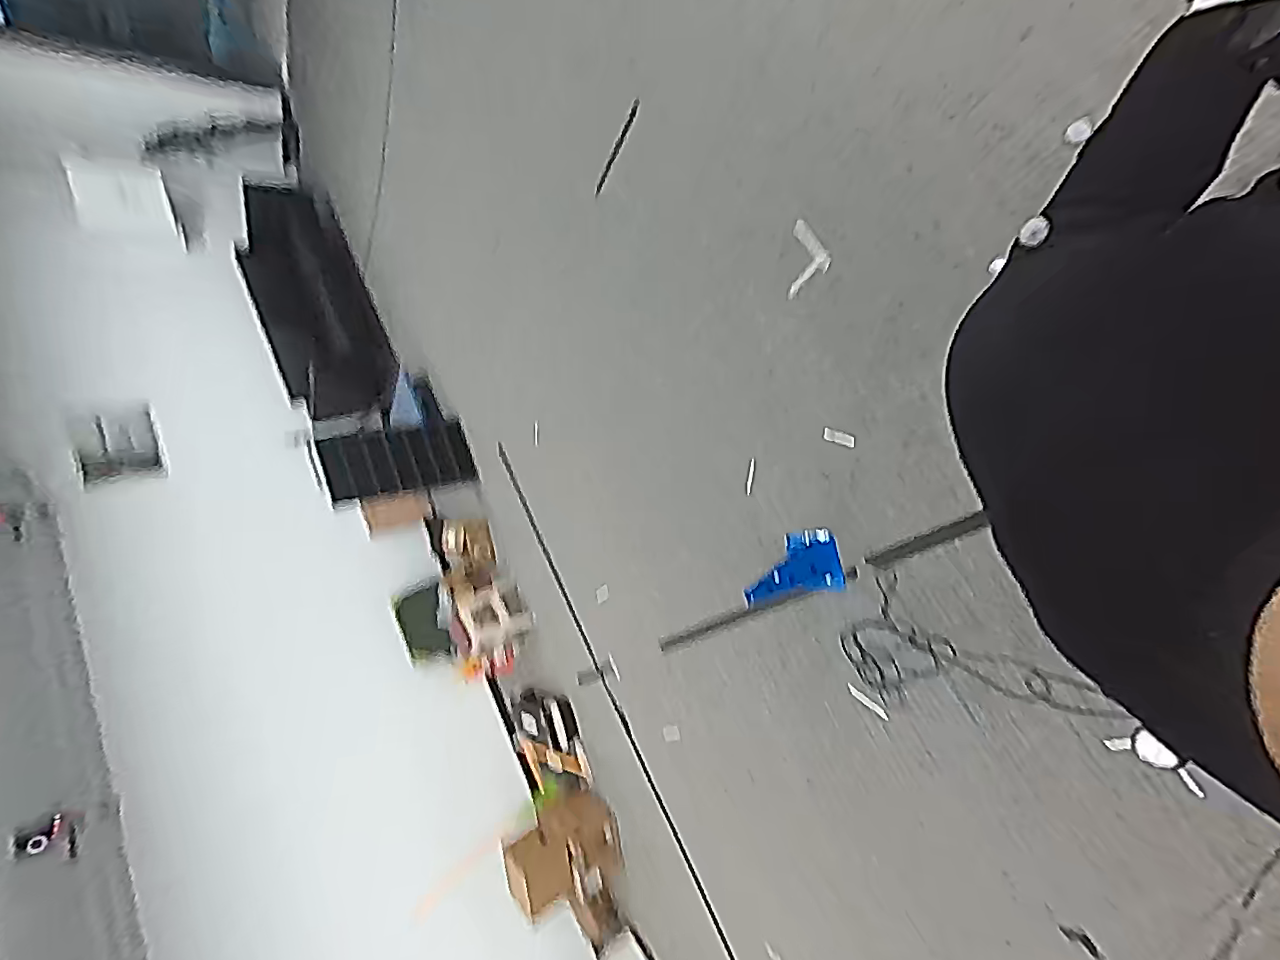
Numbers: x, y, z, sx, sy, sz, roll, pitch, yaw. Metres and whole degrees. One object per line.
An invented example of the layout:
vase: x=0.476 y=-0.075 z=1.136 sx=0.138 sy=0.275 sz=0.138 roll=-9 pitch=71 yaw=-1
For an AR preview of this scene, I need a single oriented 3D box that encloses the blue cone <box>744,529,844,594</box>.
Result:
blue cone: x=0.486 y=0.295 z=1.773 sx=0.192 sy=0.380 sz=0.193 roll=-9 pitch=95 yaw=54
